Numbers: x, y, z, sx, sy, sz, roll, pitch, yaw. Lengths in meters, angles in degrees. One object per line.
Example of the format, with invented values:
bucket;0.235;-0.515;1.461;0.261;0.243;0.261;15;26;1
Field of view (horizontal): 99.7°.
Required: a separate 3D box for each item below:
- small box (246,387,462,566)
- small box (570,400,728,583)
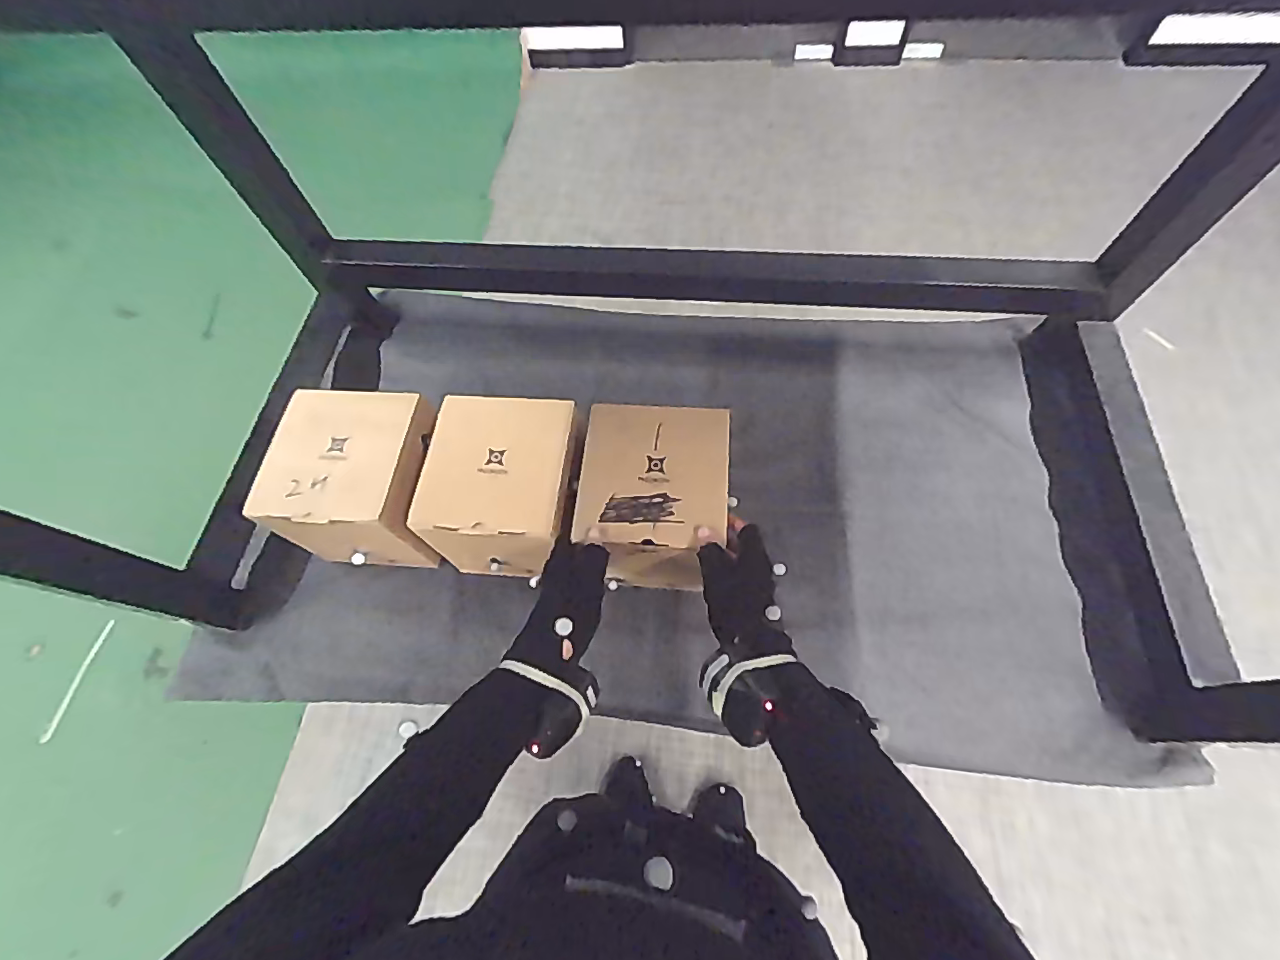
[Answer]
small box;-0.351;-0.001;0.709;0.168;0.176;0.179;2;64;6
small box;0.020;0.021;0.669;0.168;0.176;0.179;3;64;6
